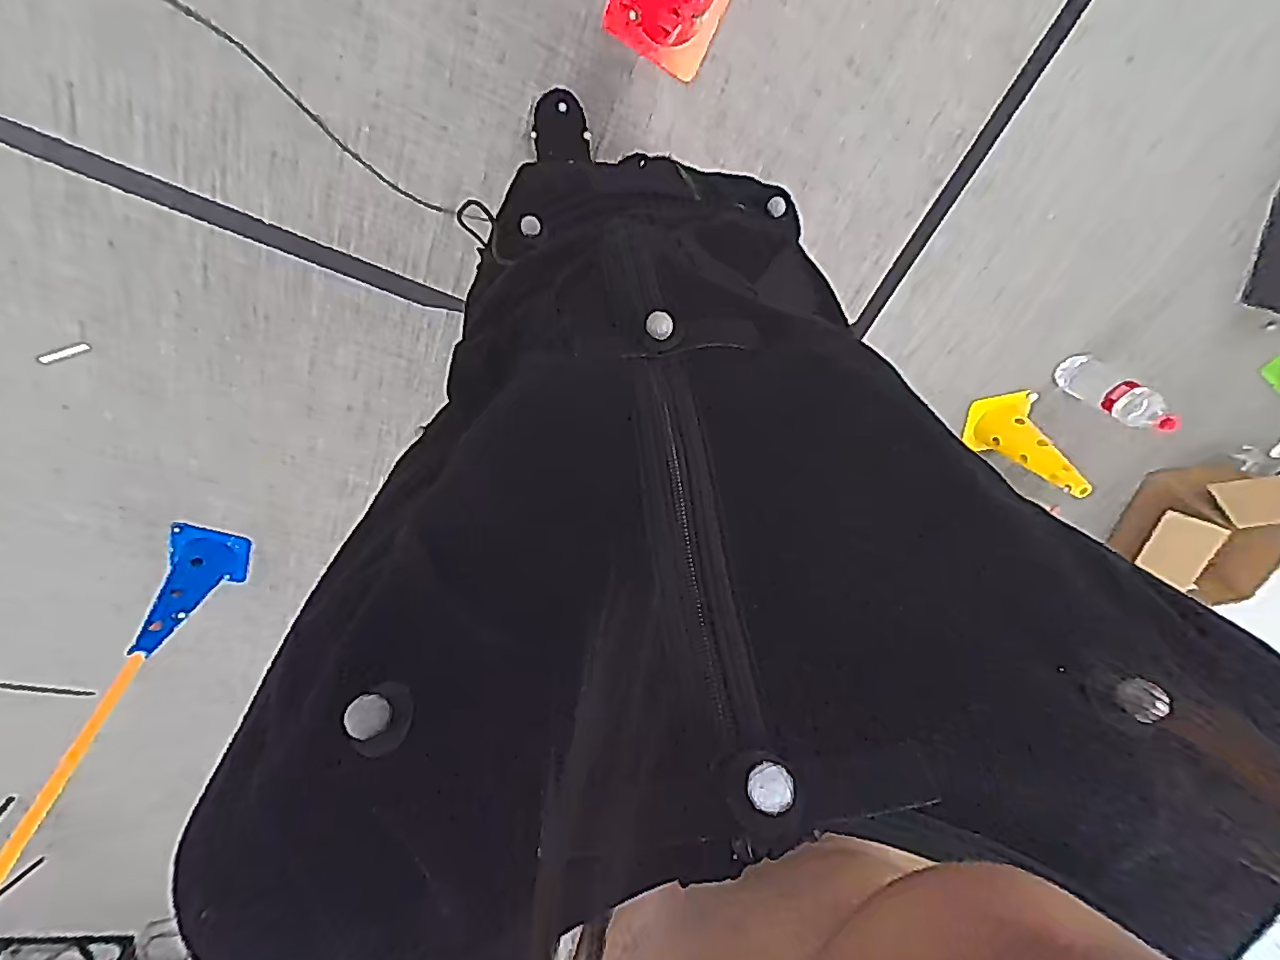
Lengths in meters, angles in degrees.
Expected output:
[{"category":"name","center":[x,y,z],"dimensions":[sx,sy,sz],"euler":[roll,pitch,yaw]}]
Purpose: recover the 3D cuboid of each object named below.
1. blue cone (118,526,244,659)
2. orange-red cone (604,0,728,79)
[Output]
[{"category":"blue cone","center":[-1.267,0.319,1.469],"dimensions":[0.192,0.380,0.193],"euler":[21,120,-22]},{"category":"orange-red cone","center":[0.079,-0.783,0.849],"dimensions":[0.199,0.360,0.198],"euler":[20,121,-23]}]
